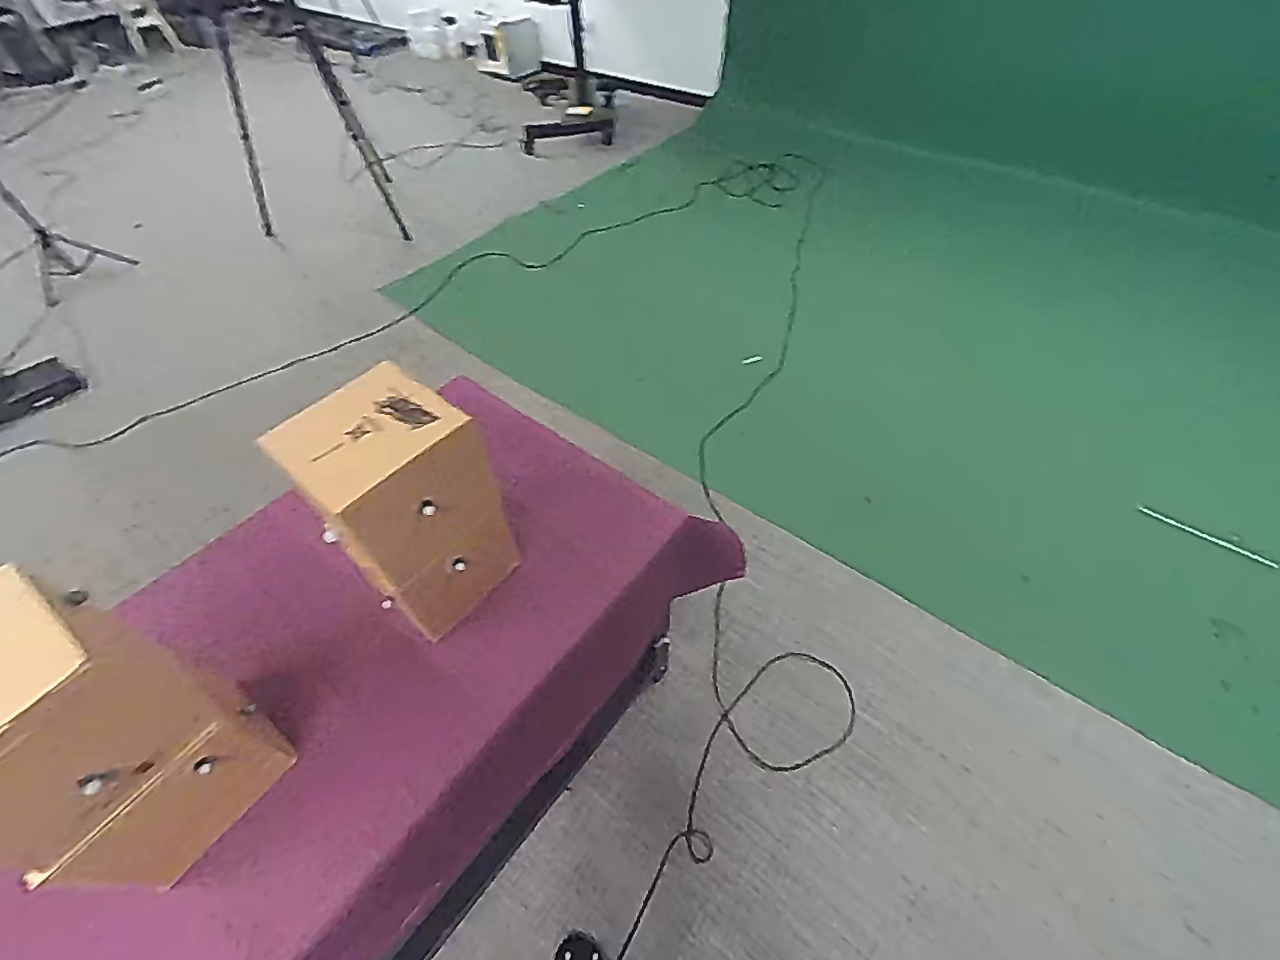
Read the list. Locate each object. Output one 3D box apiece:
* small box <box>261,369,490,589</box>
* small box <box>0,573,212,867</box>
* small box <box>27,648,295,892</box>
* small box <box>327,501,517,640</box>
[{"bbox_3d":[-0.310,0.000,0.677,0.168,0.176,0.179,32,60,24],"label":"small box"},{"bbox_3d":[-0.568,0.226,0.506,0.179,0.176,0.168,27,57,22],"label":"small box"},{"bbox_3d":[-0.557,0.338,0.628,0.168,0.176,0.179,27,56,22],"label":"small box"},{"bbox_3d":[-0.309,0.104,0.804,0.168,0.176,0.179,32,59,24],"label":"small box"}]
